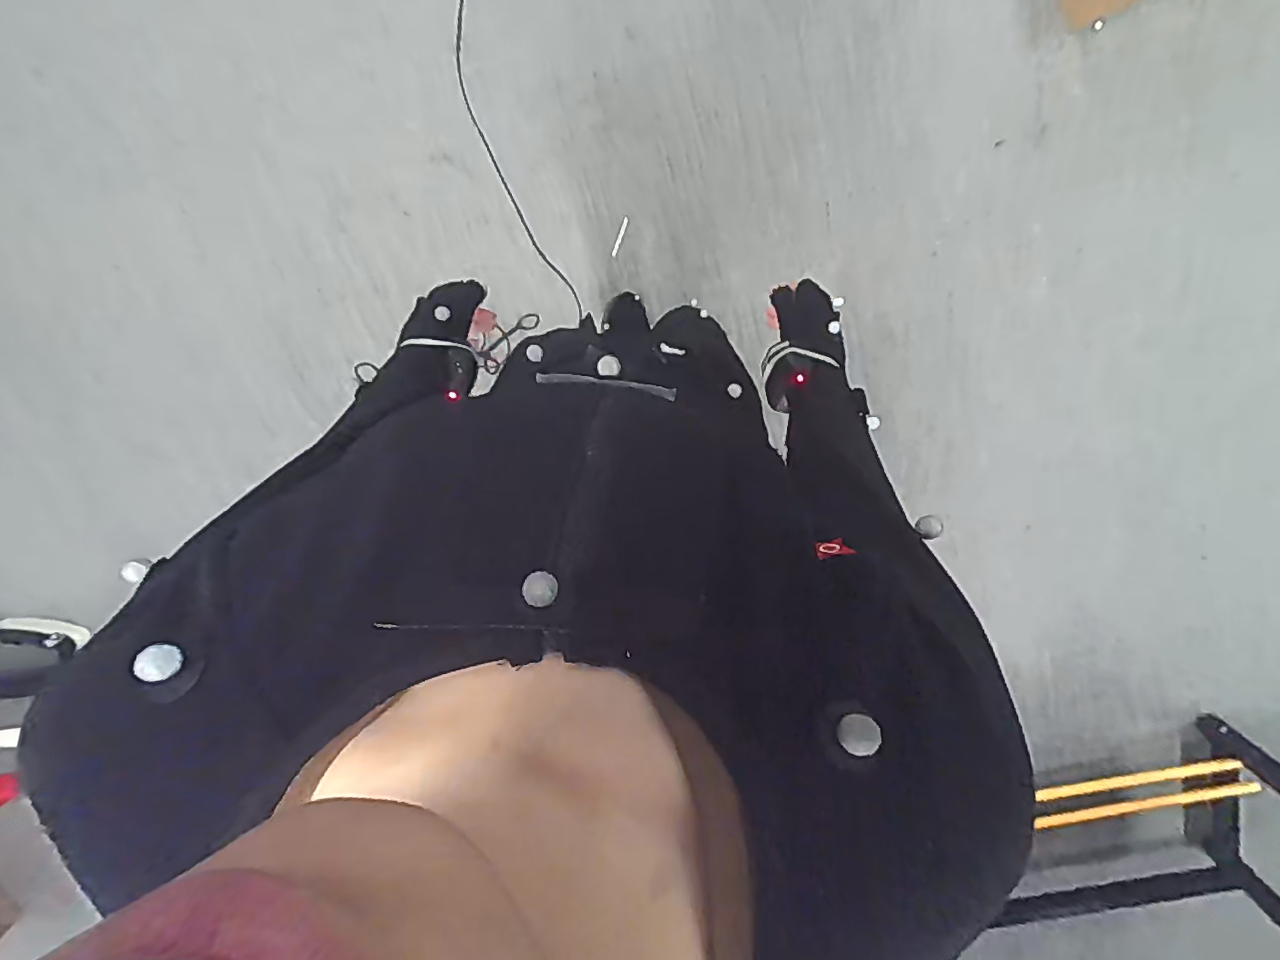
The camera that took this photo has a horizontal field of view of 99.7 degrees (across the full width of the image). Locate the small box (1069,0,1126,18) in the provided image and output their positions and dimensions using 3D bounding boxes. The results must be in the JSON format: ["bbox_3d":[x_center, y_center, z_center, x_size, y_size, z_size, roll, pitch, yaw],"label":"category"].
[{"bbox_3d":[0.946,-1.031,1.025,0.168,0.176,0.179,-24,105,9],"label":"small box"}]
